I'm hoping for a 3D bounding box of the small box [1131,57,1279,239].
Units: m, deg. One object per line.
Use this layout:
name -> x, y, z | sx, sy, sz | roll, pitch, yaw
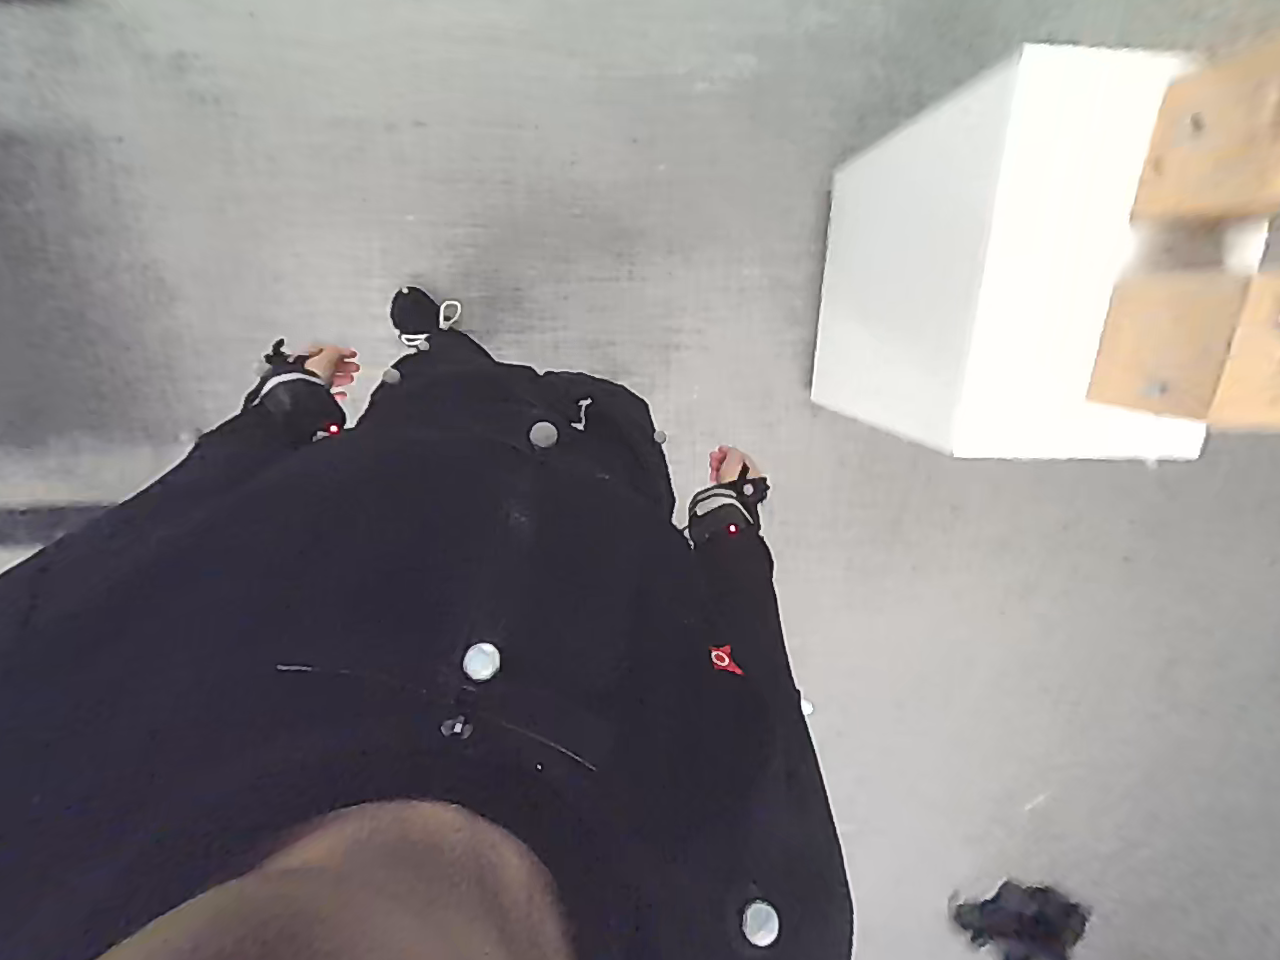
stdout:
small box -> 0.750, -0.384, 0.632 | 0.179, 0.176, 0.168 | 1, 106, -4
